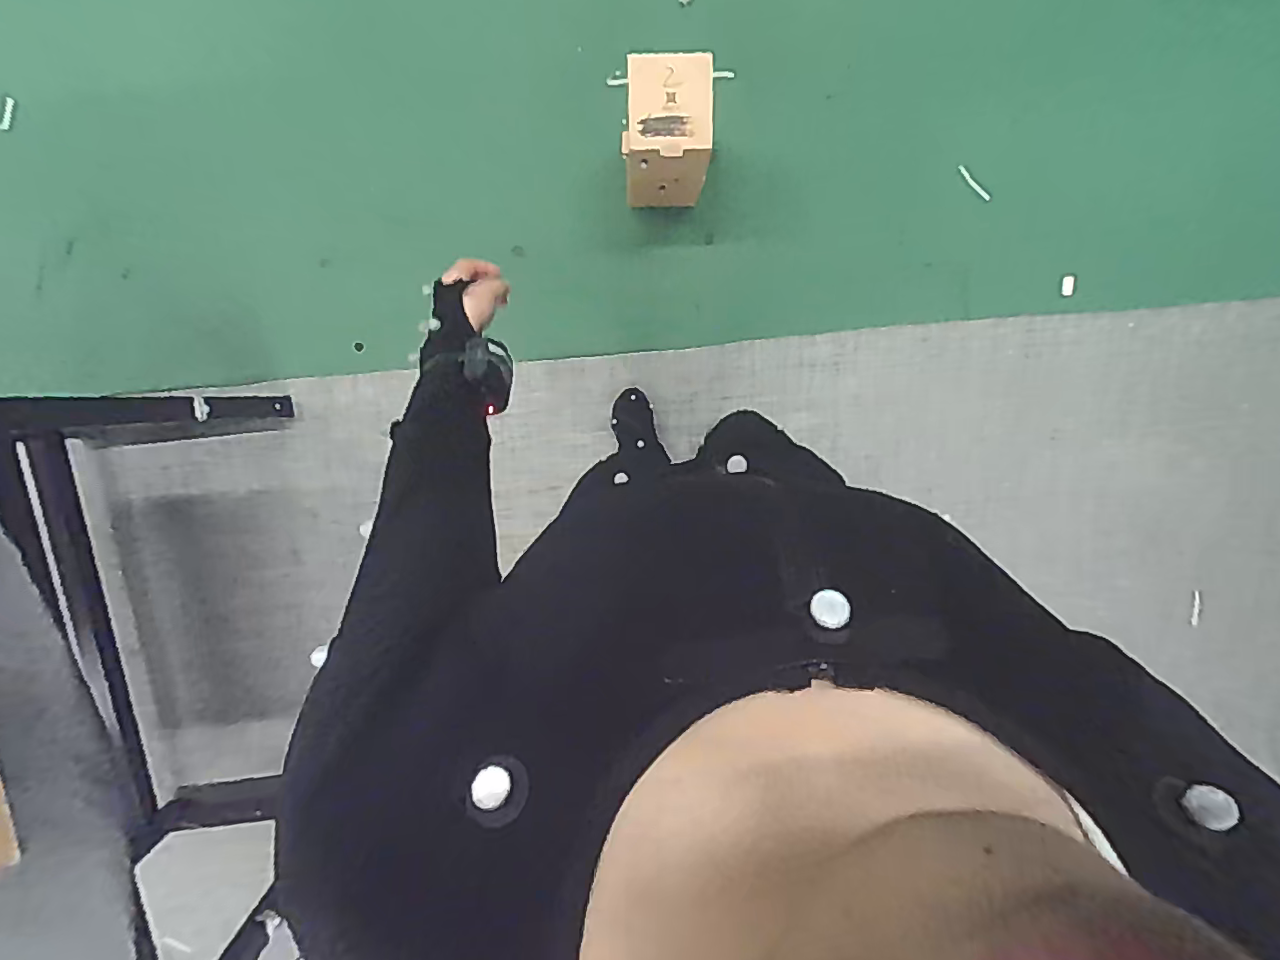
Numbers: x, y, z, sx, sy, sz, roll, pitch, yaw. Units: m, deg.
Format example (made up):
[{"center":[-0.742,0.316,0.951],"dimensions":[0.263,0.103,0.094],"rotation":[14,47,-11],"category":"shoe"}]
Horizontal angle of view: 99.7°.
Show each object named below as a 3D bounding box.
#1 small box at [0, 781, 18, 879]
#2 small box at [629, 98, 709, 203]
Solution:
[{"center":[-0.995,0.504,0.708],"dimensions":[0.168,0.176,0.179],"rotation":[-3,100,0],"category":"small box"},{"center":[0.063,-0.771,1.279],"dimensions":[0.179,0.176,0.168],"rotation":[-2,99,-1],"category":"small box"}]
